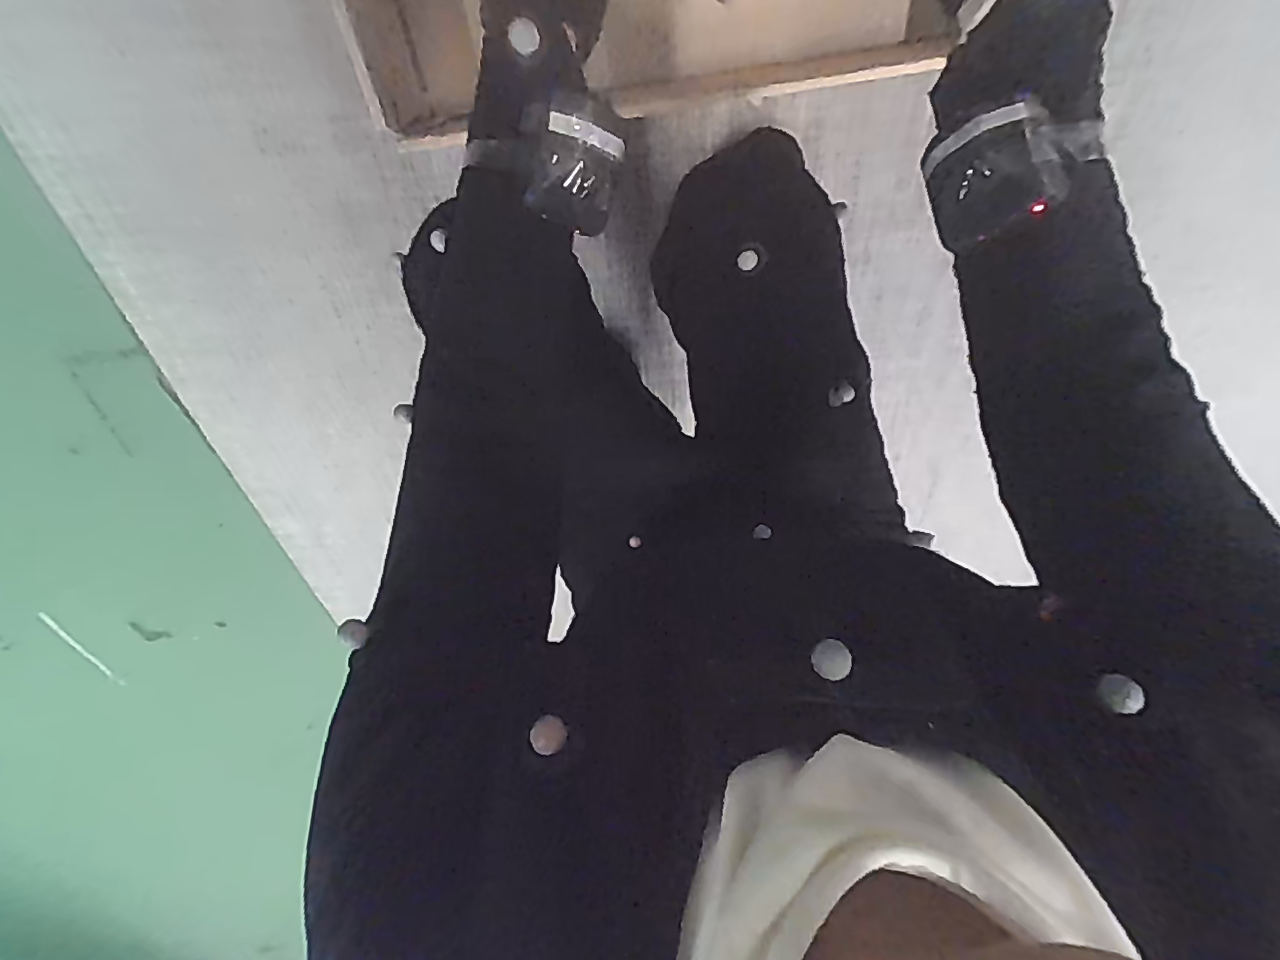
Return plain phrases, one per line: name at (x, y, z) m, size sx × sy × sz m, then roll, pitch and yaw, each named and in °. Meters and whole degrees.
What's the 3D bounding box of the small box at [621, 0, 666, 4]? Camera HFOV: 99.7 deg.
small box at (0.047, -0.431, 0.346) m, size 0.168 × 0.176 × 0.179 m, roll -7°, pitch 128°, yaw 3°
